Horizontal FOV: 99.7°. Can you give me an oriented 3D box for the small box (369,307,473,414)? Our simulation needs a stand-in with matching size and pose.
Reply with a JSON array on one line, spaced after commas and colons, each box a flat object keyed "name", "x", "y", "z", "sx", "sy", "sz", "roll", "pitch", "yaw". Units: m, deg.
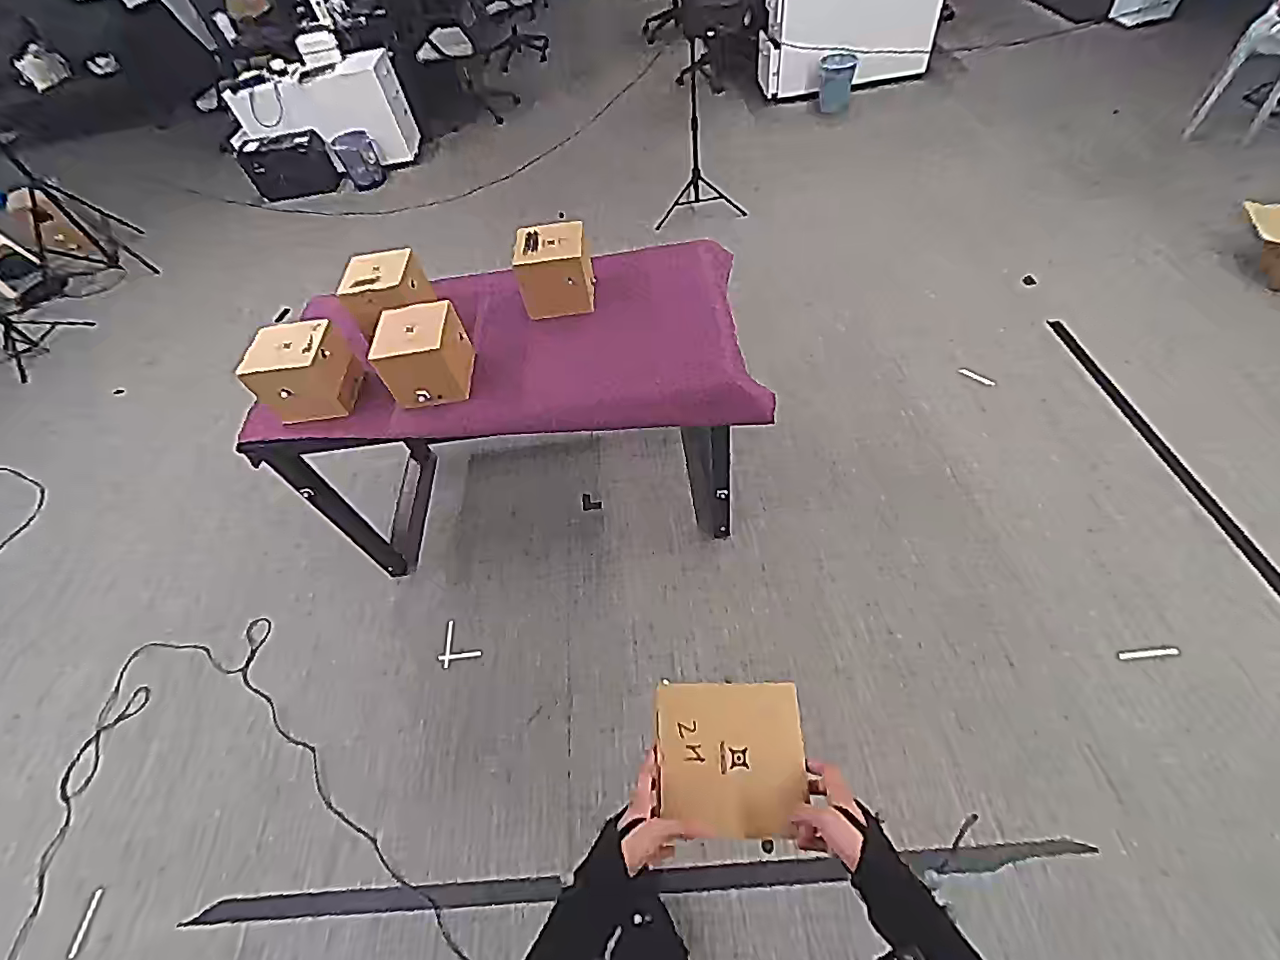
[{"name": "small box", "x": -0.512, "y": -0.284, "z": 1.296, "sx": 0.168, "sy": 0.176, "sz": 0.179, "roll": -8, "pitch": 55, "yaw": 3}]

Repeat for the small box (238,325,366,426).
[{"name": "small box", "x": -0.806, "y": -0.246, "z": 1.310, "sx": 0.179, "sy": 0.176, "sz": 0.168, "roll": -7, "pitch": 54, "yaw": 4}]

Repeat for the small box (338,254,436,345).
[{"name": "small box", "x": -0.672, "y": -0.476, "z": 1.461, "sx": 0.168, "sy": 0.176, "sz": 0.179, "roll": -8, "pitch": 53, "yaw": 3}]

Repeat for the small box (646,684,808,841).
[{"name": "small box", "x": 0.099, "y": 0.363, "z": 0.707, "sx": 0.179, "sy": 0.176, "sz": 0.168, "roll": 0, "pitch": 63, "yaw": -1}]
